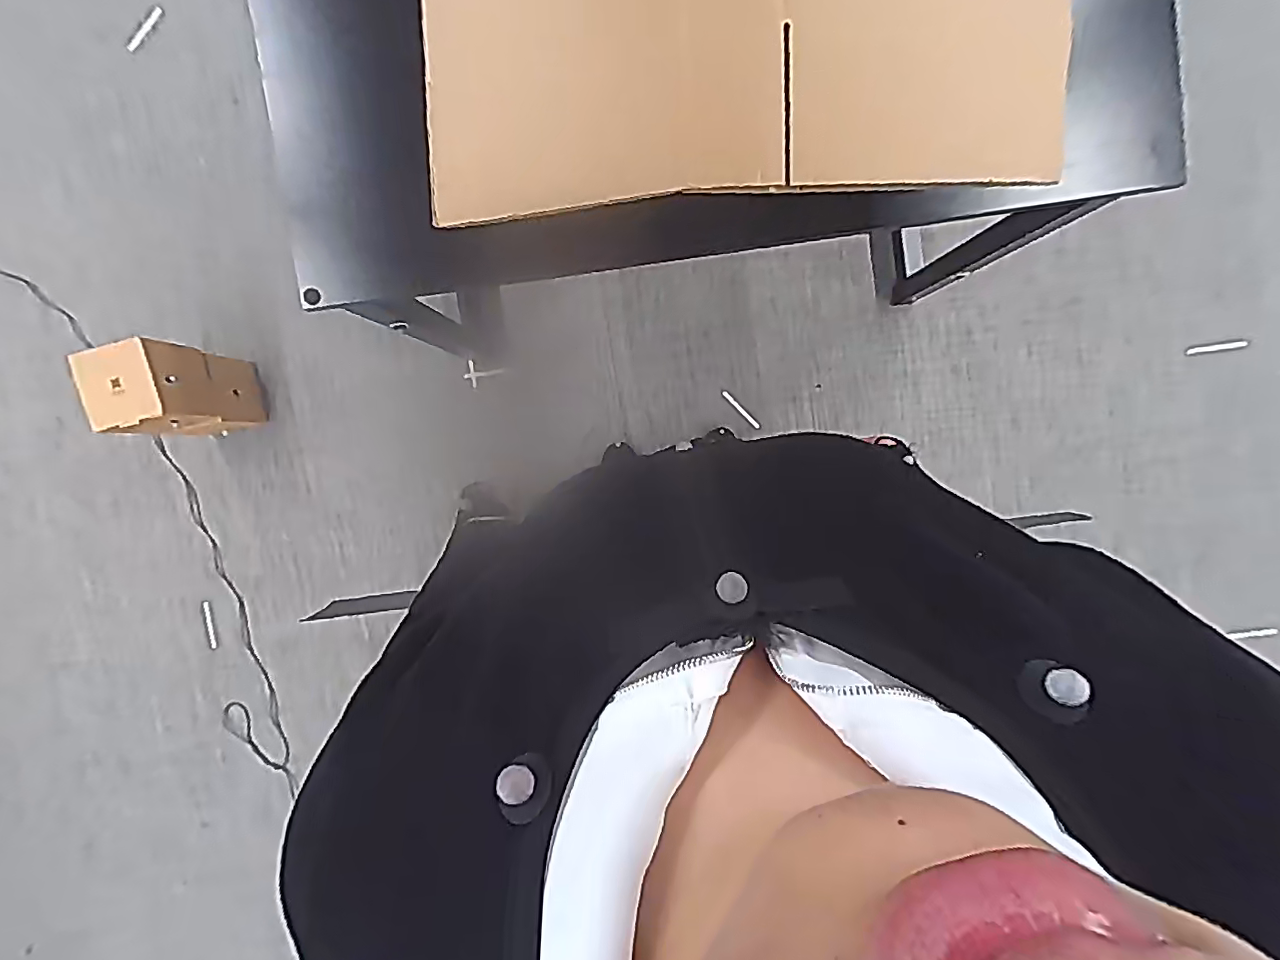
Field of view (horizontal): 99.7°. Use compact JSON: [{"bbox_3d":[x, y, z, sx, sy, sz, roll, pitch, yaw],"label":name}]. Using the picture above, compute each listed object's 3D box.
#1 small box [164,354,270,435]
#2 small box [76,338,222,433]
[{"bbox_3d":[-1.122,-0.218,1.419,0.168,0.176,0.179,-11,95,2],"label":"small box"},{"bbox_3d":[-1.127,-0.211,1.257,0.168,0.176,0.179,-15,93,1],"label":"small box"}]
